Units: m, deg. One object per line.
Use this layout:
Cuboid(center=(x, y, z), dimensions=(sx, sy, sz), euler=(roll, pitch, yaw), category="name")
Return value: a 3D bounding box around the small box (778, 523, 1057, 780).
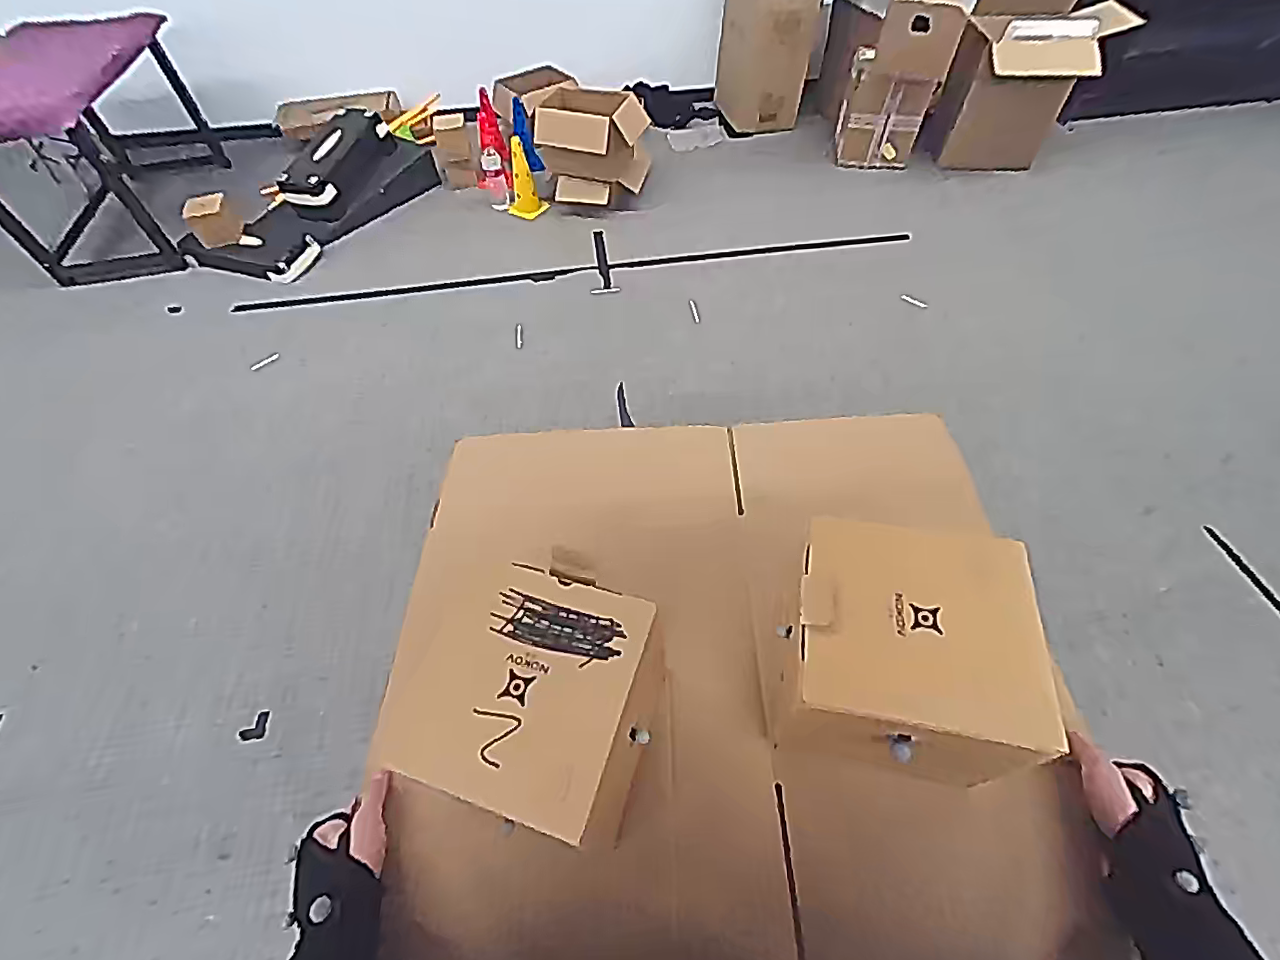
Cuboid(center=(0.229, 0.162, 0.497), dimensions=(0.179, 0.176, 0.168), euler=(6, 54, 13), category="small box")
